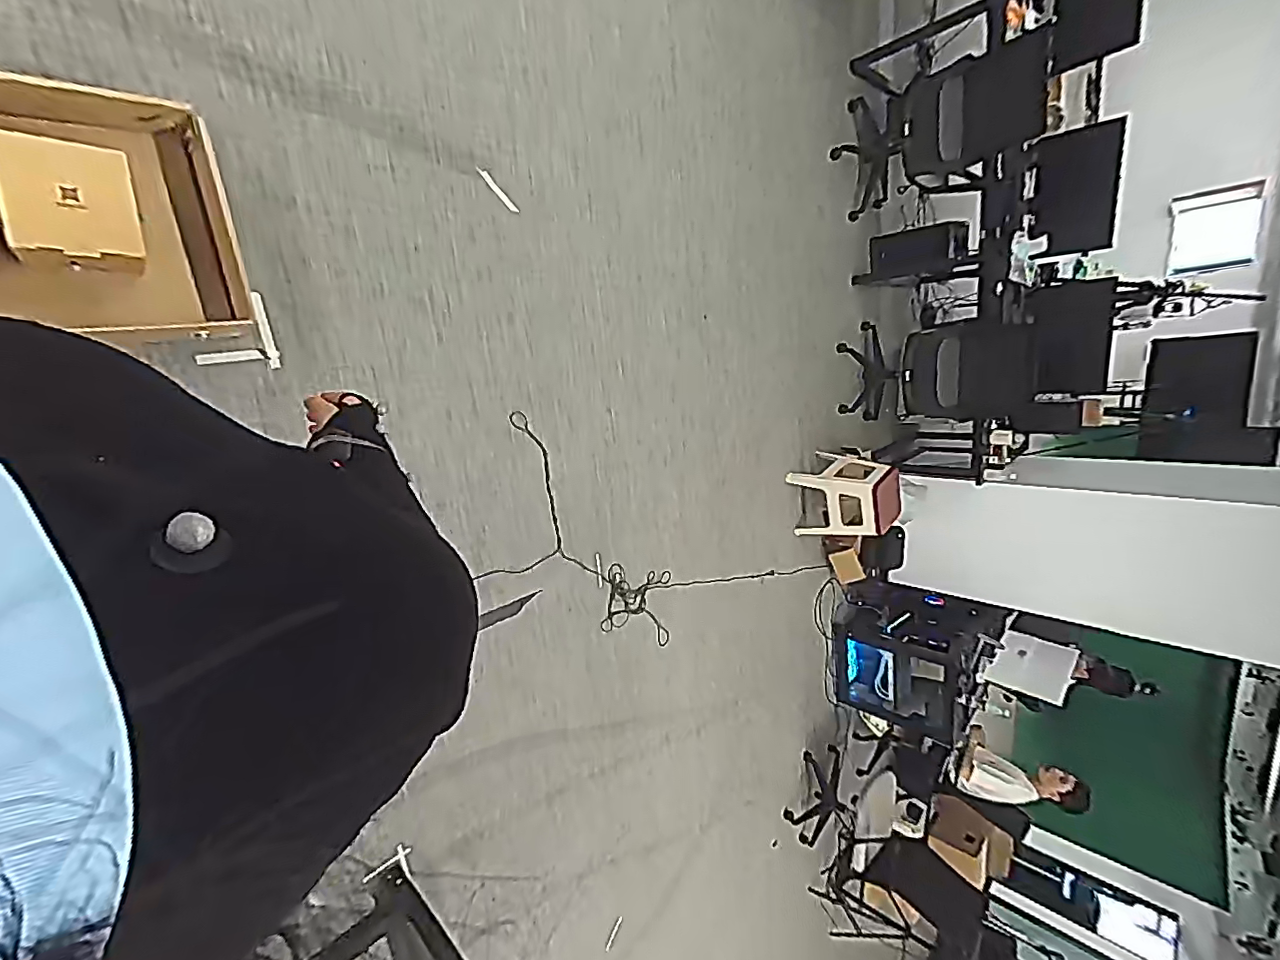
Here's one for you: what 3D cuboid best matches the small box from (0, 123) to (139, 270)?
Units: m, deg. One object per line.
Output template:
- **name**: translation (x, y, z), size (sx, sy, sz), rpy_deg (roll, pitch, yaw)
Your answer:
- **small box**: translation (-1.001, -0.479, 0.939), size (0.168, 0.176, 0.179), rpy_deg (-12, 104, -43)
